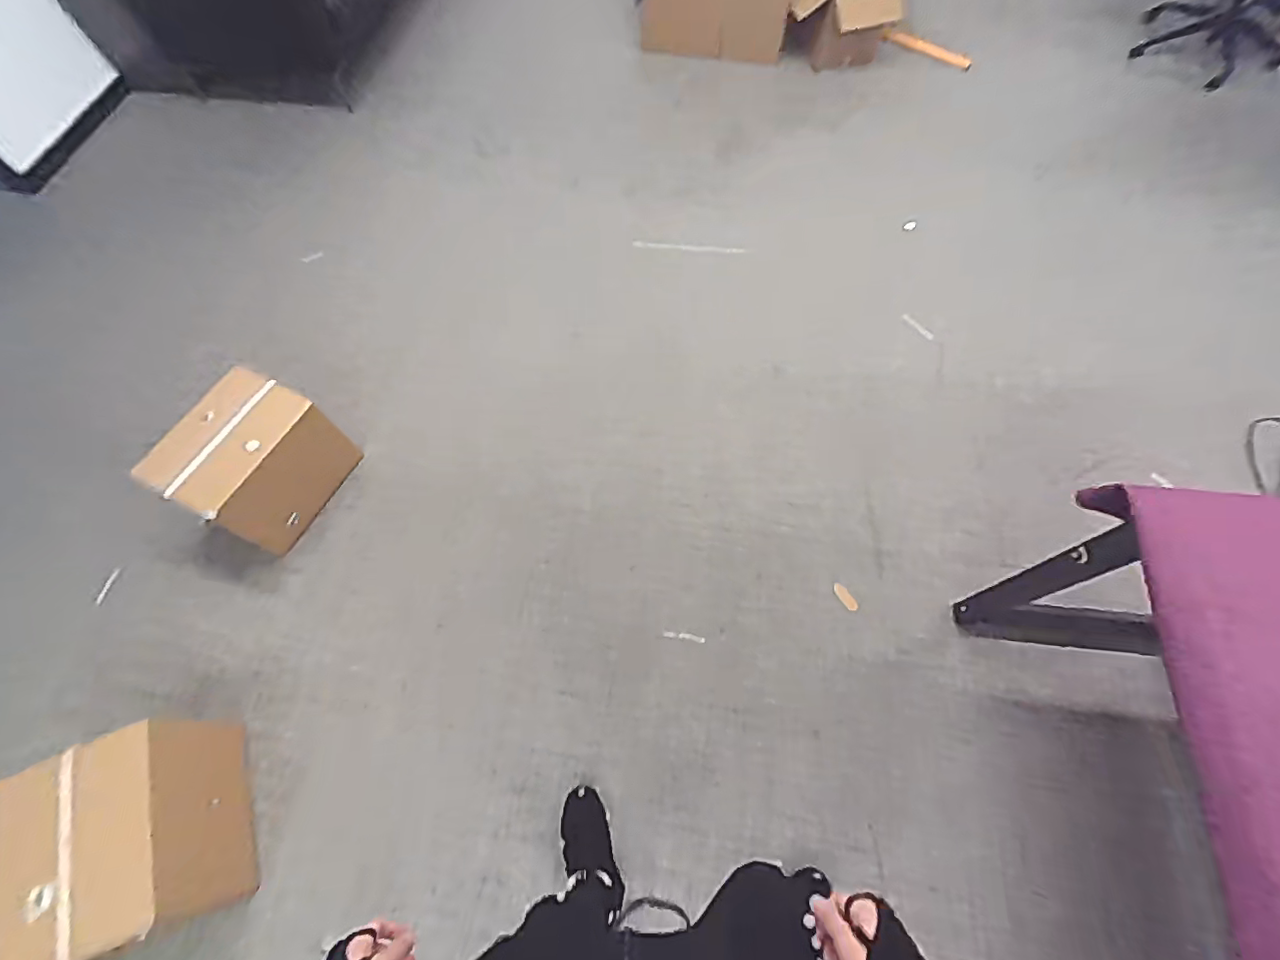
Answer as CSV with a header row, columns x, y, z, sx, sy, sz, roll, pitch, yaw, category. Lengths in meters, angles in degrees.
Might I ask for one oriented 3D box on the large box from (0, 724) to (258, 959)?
x,y,z,sx,sy,sz,roll,pitch,yaw,category
-1.132,0.817,1.213,0.320,0.320,0.408,-23,66,-8,large box
